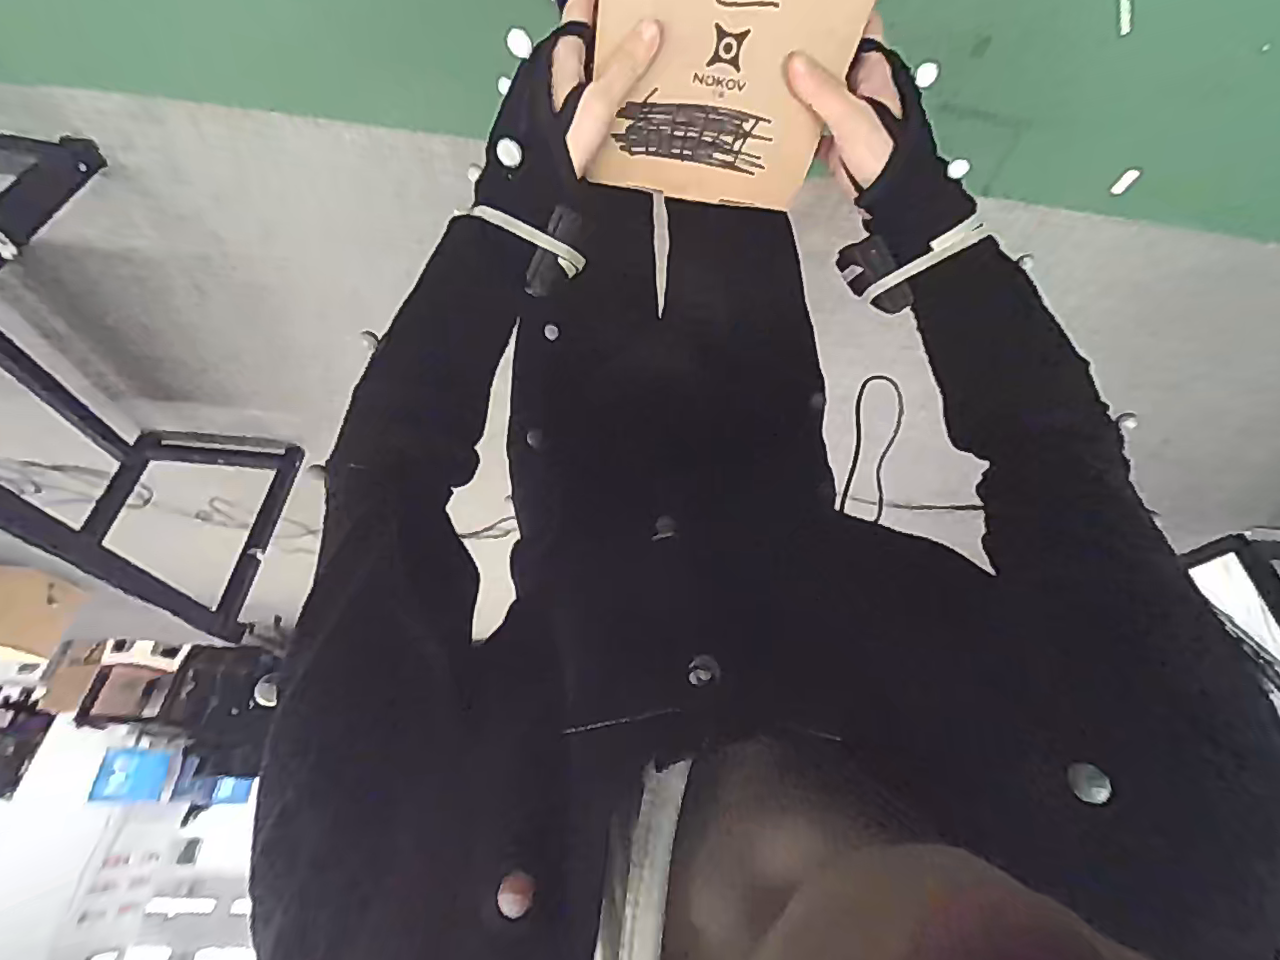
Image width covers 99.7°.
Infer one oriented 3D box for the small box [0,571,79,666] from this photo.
[{"bbox_3d":[-1.429,0.302,1.195,0.179,0.176,0.168,5,149,-4],"label":"small box"}]
